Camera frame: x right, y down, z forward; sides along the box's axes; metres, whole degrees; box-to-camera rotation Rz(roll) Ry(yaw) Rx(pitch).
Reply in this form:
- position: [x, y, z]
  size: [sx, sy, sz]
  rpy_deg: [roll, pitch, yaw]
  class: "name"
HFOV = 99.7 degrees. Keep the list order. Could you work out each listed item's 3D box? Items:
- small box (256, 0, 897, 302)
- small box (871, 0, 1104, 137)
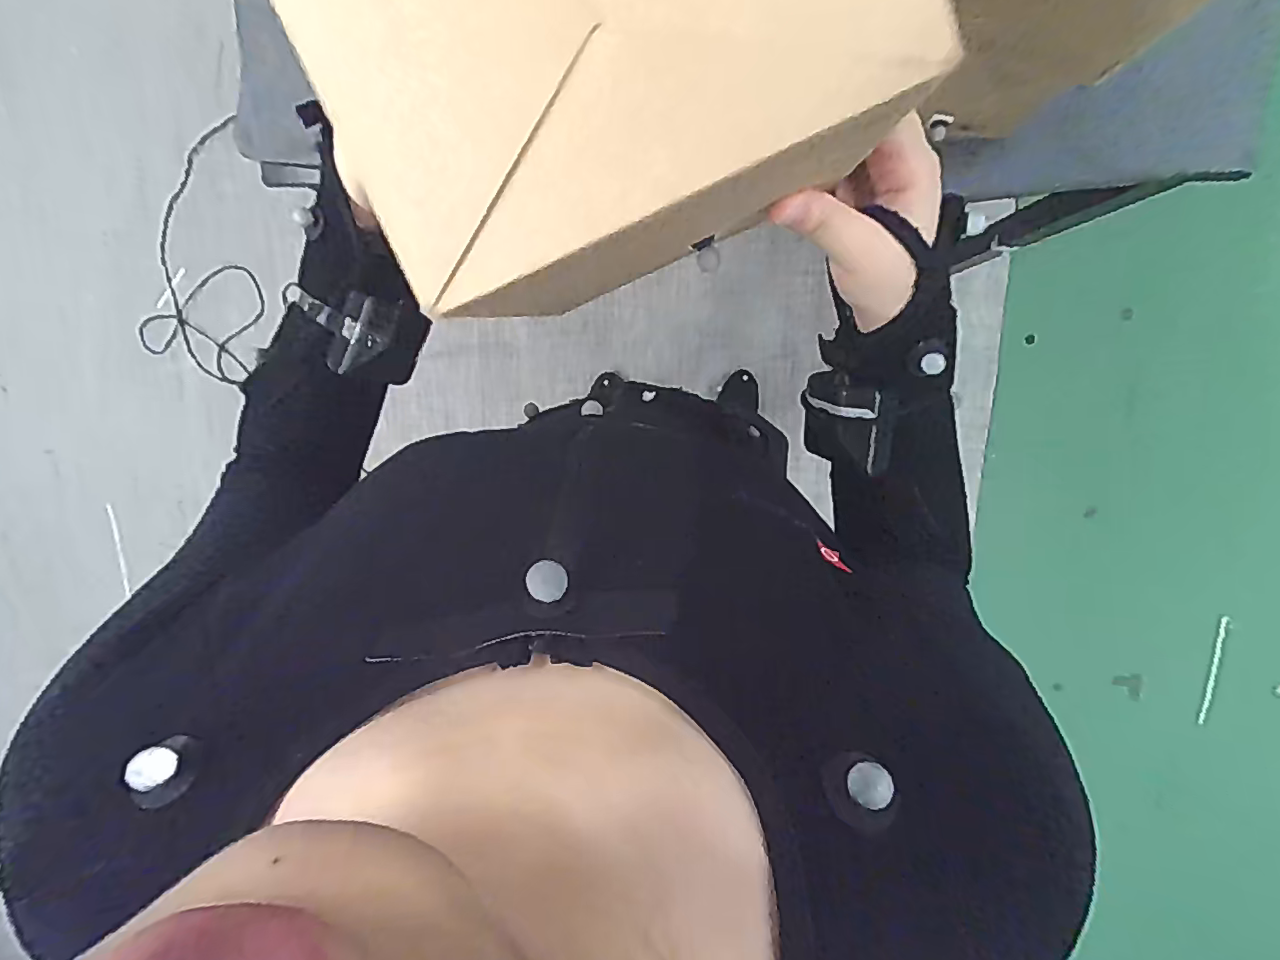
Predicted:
- position: [-0.018, -0.182, 0.224]
  size: [0.179, 0.176, 0.168]
  rpy_deg: [-19, 104, 16]
  class: "small box"
- position: [0.346, -0.475, 0.539]
  size: [0.168, 0.176, 0.179]
  rpy_deg: [3, 101, 5]
  class: "small box"
